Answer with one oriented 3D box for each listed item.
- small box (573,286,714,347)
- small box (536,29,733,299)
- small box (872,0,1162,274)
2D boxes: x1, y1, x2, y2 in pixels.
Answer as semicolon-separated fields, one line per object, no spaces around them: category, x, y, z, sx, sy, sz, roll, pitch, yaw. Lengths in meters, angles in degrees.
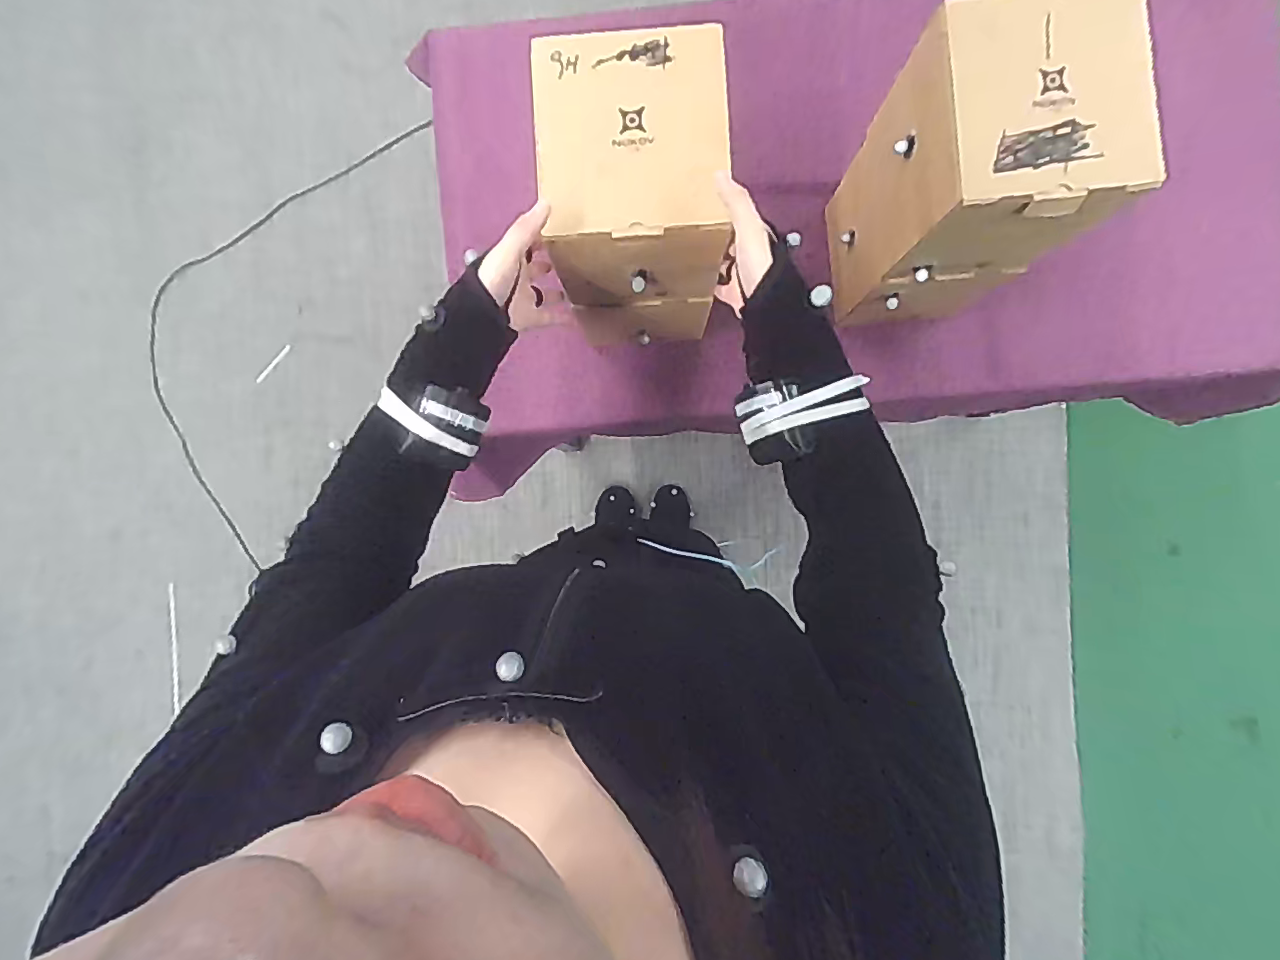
small box;0.003;-0.284;0.702;0.168;0.176;0.179;-3;89;2
small box;-0.002;-0.290;0.538;0.168;0.176;0.179;-3;89;1
small box;0.344;-0.316;0.528;0.168;0.176;0.179;-4;88;2
